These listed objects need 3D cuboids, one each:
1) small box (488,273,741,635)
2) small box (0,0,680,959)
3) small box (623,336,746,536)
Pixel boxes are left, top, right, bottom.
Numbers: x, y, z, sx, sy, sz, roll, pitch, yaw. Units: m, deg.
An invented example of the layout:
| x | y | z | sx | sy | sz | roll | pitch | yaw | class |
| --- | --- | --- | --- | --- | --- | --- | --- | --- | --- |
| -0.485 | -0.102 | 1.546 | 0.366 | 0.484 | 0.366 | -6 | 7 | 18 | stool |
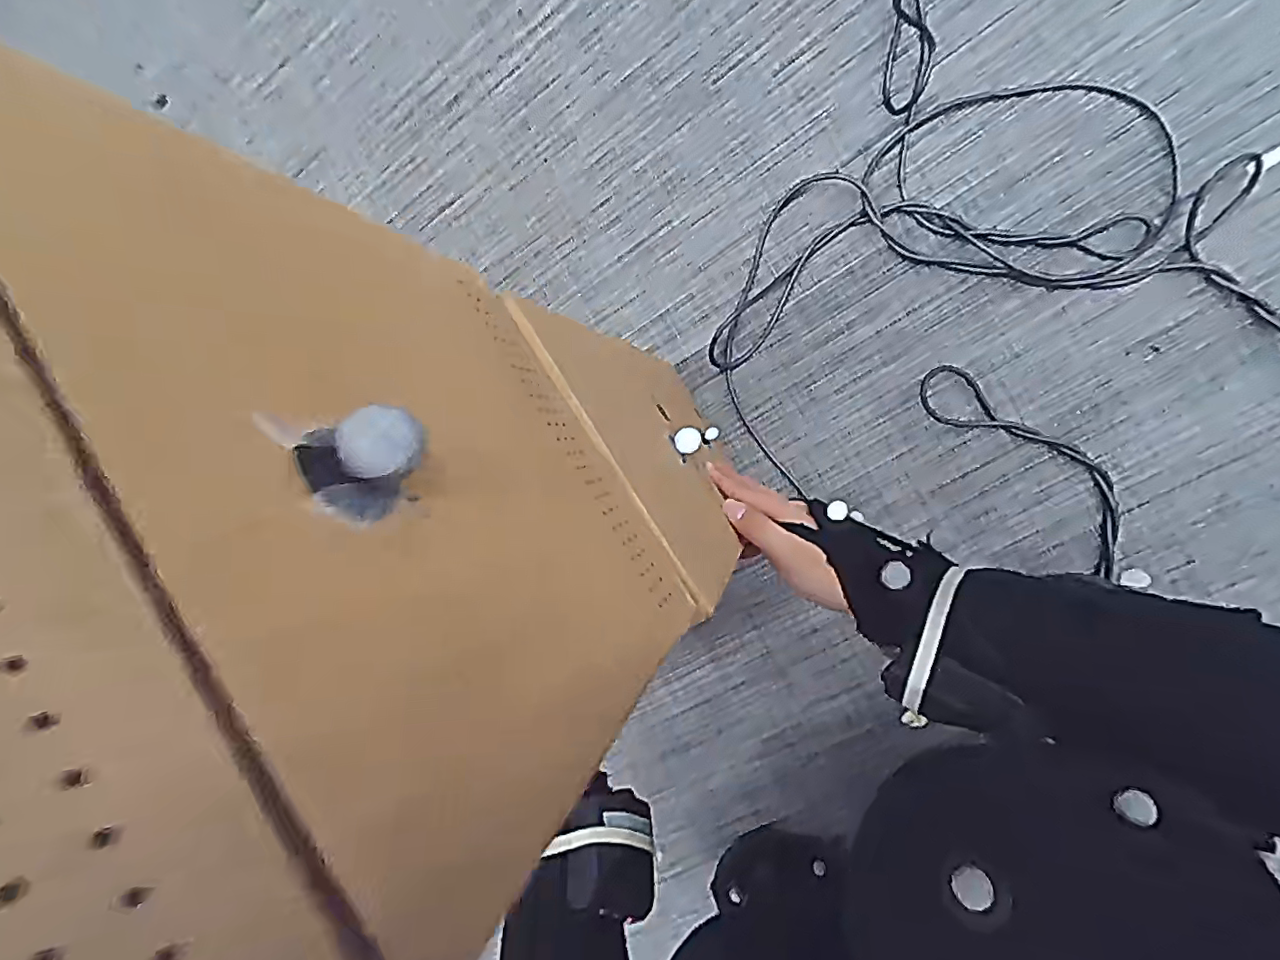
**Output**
| x | y | z | sx | sy | sz | roll | pitch | yaw | class |
| --- | --- | --- | --- | --- | --- | --- | --- | --- | --- |
| -0.058 | 0.019 | 0.319 | 0.179 | 0.176 | 0.168 | -33 | 86 | 15 | small box |
| -0.110 | 0.026 | 0.164 | 0.168 | 0.176 | 0.179 | -34 | 86 | 16 | small box |
| -0.019 | -0.001 | 0.477 | 0.179 | 0.176 | 0.168 | -31 | 86 | 17 | small box |
